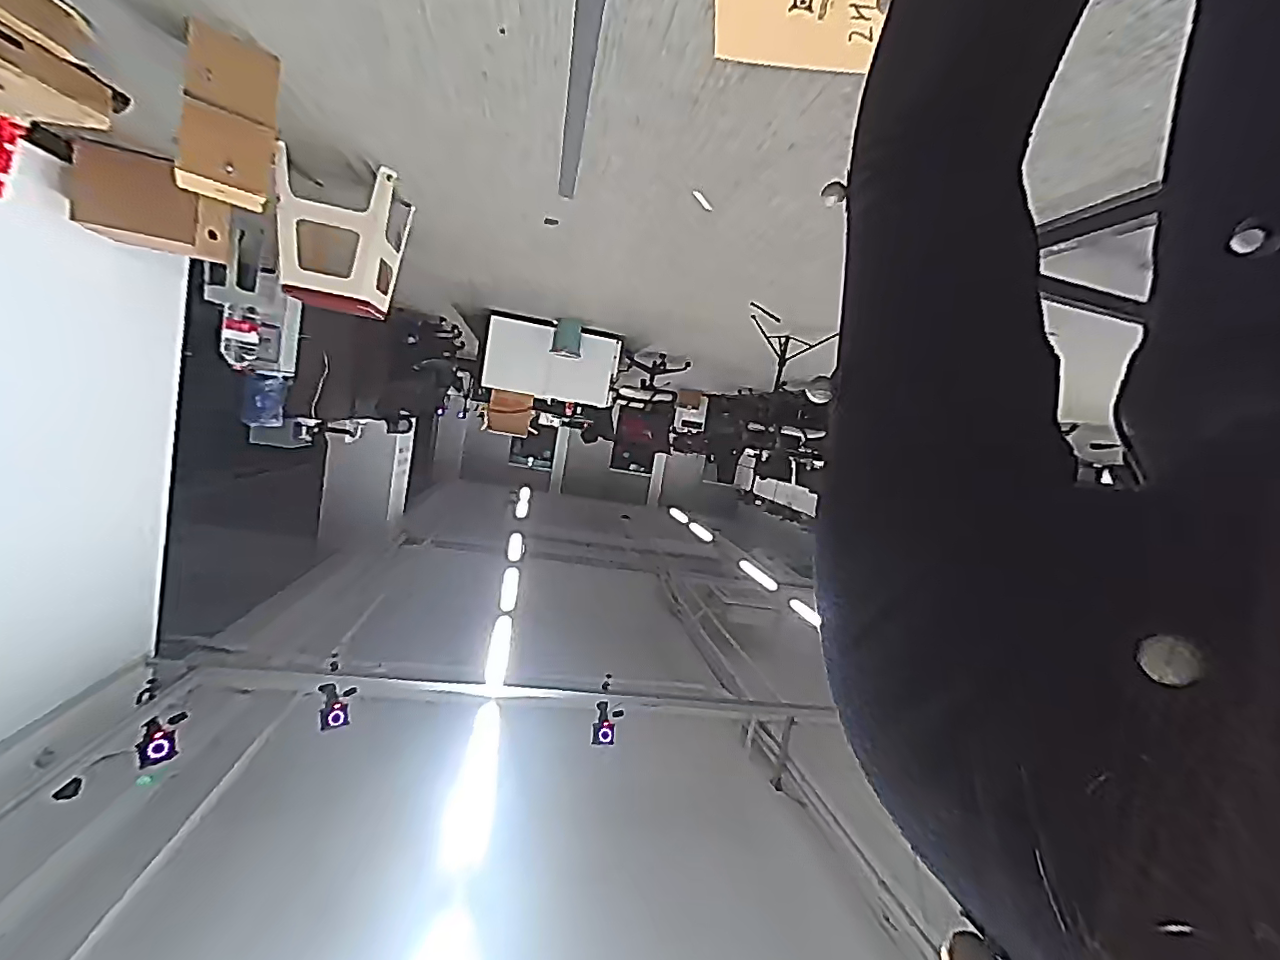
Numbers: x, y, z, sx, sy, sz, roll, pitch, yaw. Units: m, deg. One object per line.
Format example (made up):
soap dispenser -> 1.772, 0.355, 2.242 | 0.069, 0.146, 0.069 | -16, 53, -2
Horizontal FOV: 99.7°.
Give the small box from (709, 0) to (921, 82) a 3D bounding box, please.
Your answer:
small box -> 0.165, -0.499, 0.474 | 0.179, 0.176, 0.168 | 8, -173, 3
